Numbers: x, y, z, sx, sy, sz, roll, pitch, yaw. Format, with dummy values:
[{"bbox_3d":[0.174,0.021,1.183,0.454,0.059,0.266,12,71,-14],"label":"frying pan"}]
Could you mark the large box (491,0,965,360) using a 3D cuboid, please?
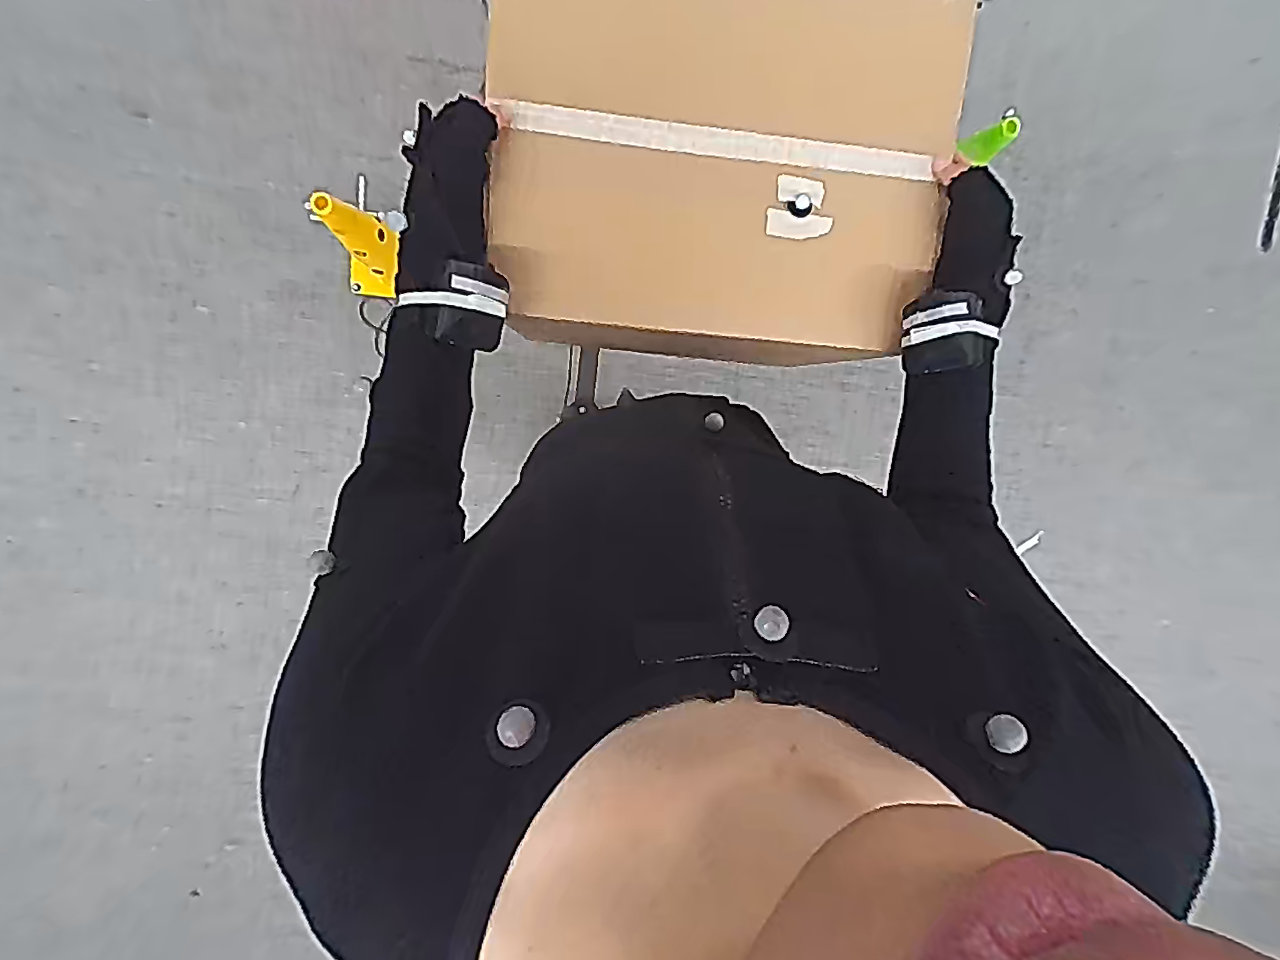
[{"bbox_3d":[0.059,-0.314,0.612,0.408,0.320,0.320,4,100,-7],"label":"large box"}]
